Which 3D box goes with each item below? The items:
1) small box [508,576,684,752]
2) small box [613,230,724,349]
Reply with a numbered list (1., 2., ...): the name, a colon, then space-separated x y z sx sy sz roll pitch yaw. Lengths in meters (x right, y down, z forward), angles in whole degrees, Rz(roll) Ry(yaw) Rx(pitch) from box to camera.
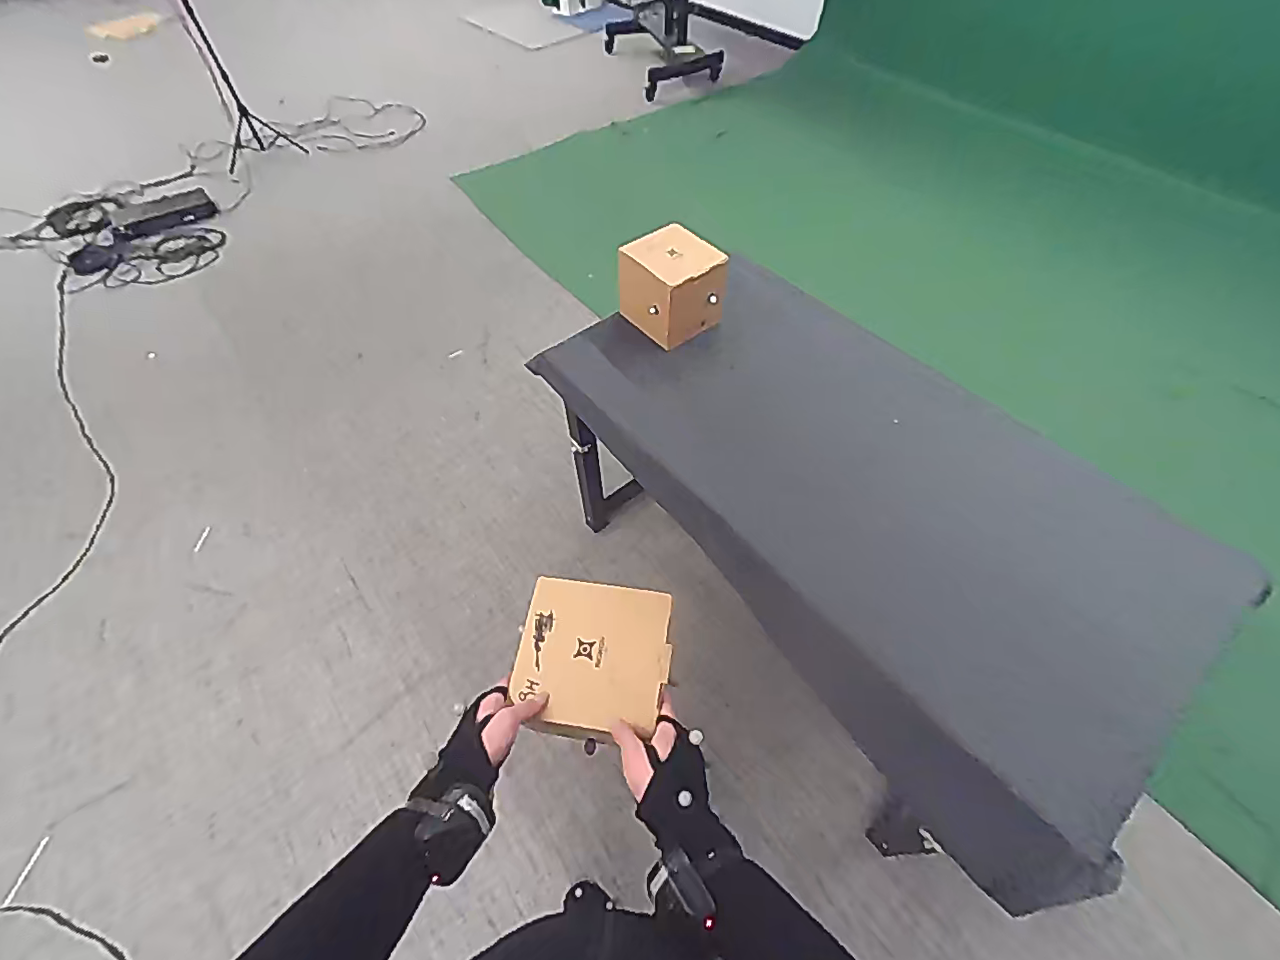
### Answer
1. small box: -0.045 0.238 0.682 0.179 0.176 0.168 7 59 4
2. small box: 0.058 -0.415 1.197 0.168 0.176 0.179 -34 61 -25
